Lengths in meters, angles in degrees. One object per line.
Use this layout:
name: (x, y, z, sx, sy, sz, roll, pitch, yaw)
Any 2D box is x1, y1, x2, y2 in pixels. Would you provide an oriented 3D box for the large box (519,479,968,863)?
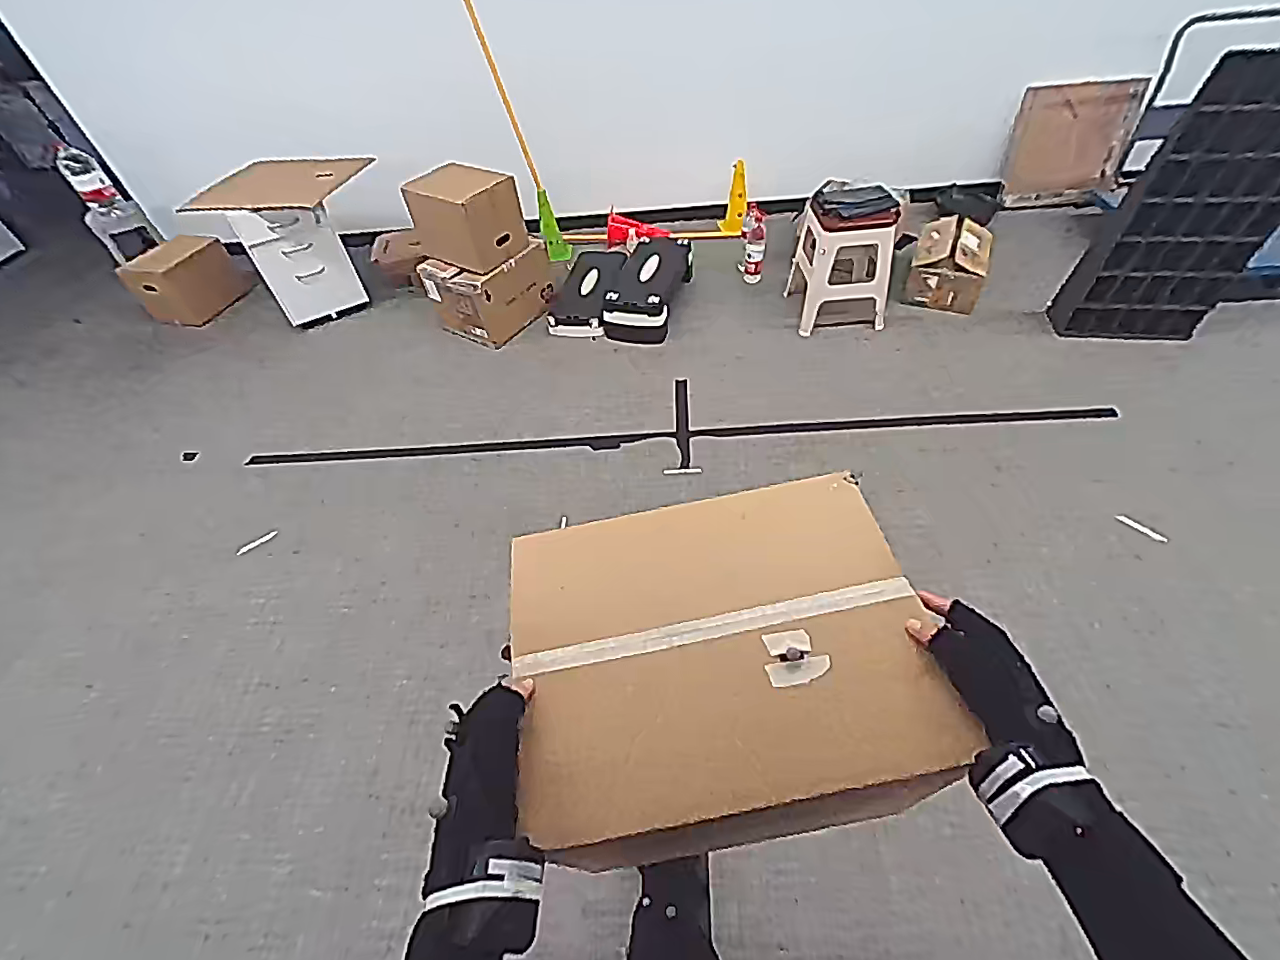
large box: (0.088, 0.246, 0.679, 0.408, 0.320, 0.320, -11, 52, -1)
